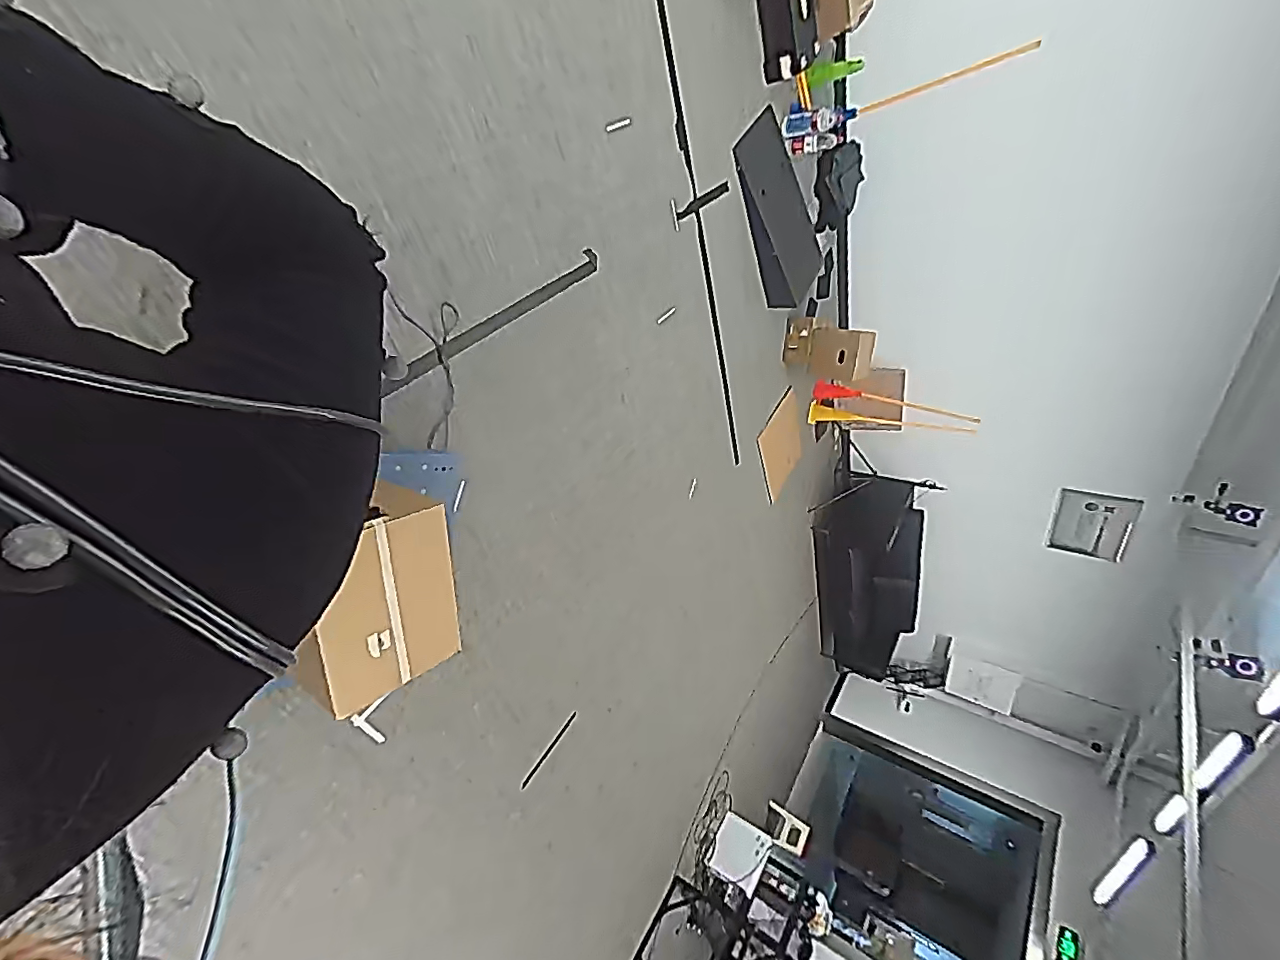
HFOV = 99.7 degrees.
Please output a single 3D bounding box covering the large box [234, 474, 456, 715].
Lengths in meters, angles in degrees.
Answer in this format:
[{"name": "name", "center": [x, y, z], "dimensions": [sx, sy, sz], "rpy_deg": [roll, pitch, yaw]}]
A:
[{"name": "large box", "center": [-0.673, 0.239, 1.263], "dimensions": [0.320, 0.320, 0.408], "rpy_deg": [-22, 120, -49]}]
